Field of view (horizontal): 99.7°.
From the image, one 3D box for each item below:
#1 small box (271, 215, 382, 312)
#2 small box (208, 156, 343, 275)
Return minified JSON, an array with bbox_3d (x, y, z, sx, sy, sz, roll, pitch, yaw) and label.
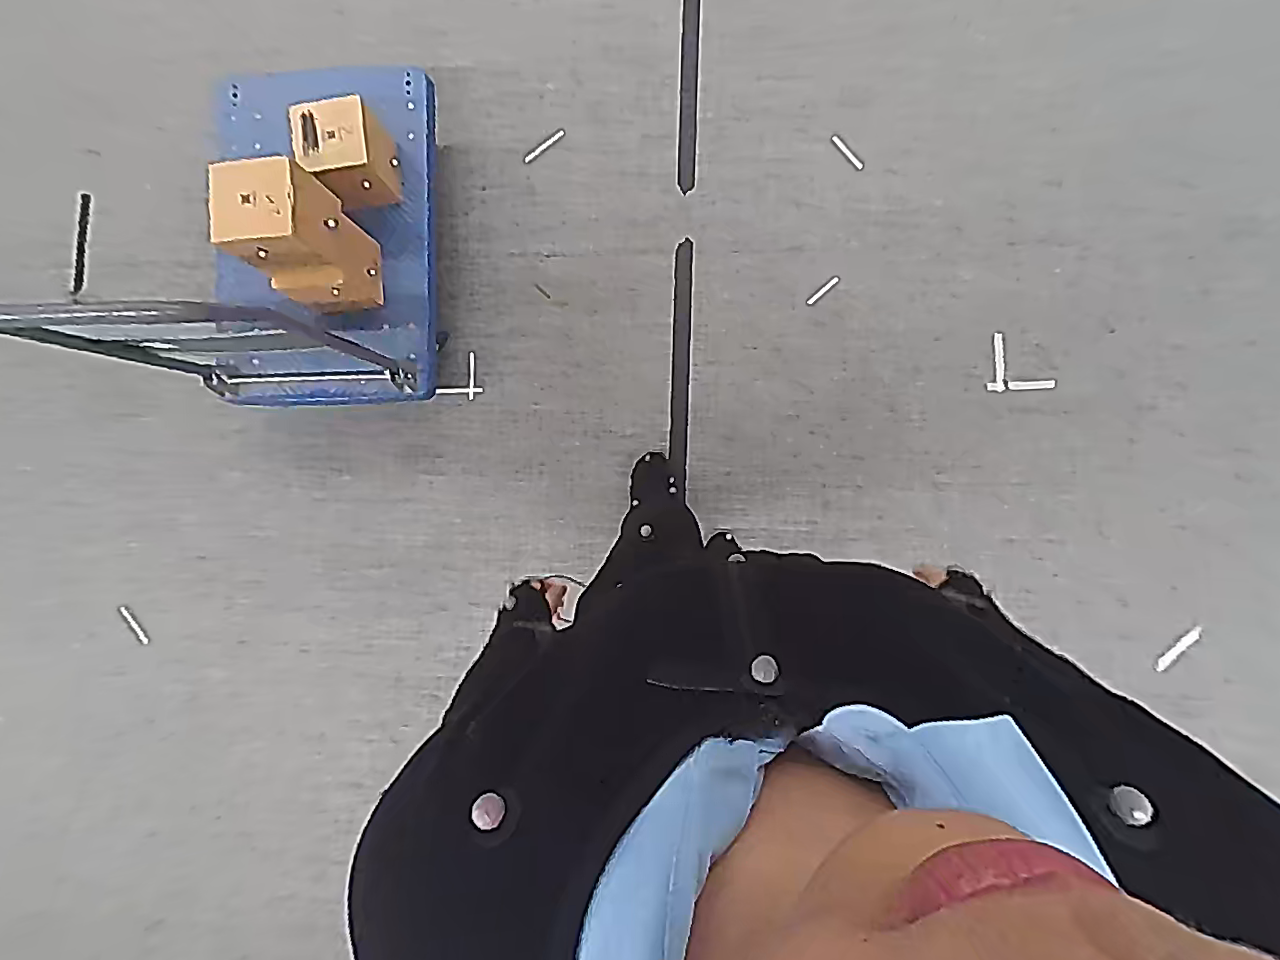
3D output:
[{"bbox_3d":[-0.758,-0.520,1.316,0.179,0.176,0.168,-4,88,3],"label":"small box"},{"bbox_3d":[-0.769,-0.553,1.152,0.179,0.176,0.168,-4,88,3],"label":"small box"}]
